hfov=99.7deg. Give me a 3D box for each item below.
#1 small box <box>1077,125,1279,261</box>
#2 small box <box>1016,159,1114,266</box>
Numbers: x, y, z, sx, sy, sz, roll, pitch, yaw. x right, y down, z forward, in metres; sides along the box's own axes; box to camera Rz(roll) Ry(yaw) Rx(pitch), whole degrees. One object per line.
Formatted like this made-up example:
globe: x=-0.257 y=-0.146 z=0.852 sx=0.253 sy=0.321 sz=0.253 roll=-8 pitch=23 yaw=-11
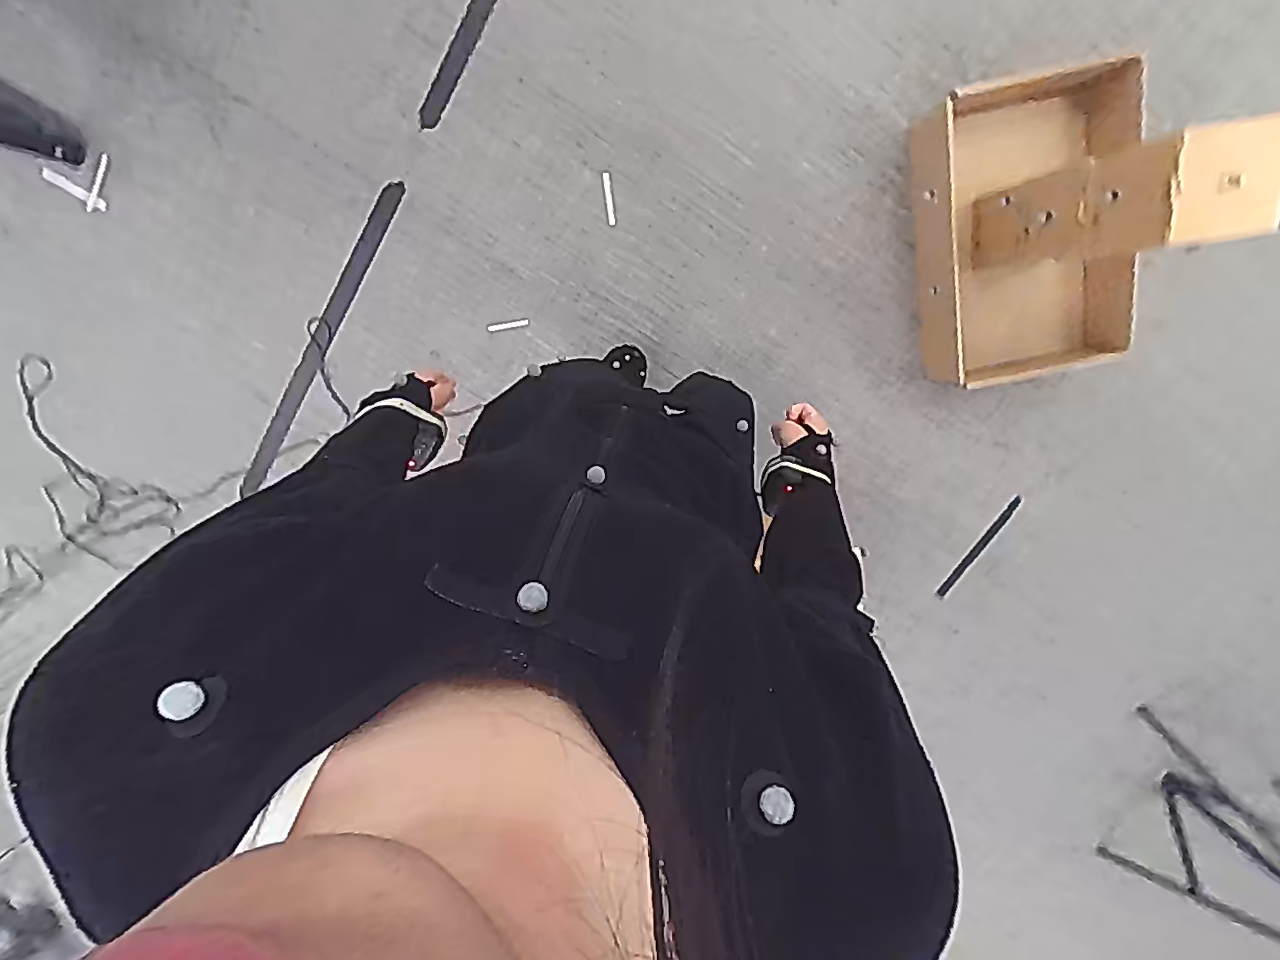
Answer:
small box: x=0.899 y=-0.475 z=0.916 sx=0.179 sy=0.176 sz=0.168 roll=-8 pitch=107 yaw=1
small box: x=0.887 y=-0.526 z=1.071 sx=0.179 sy=0.176 sz=0.168 roll=-7 pitch=107 yaw=1
